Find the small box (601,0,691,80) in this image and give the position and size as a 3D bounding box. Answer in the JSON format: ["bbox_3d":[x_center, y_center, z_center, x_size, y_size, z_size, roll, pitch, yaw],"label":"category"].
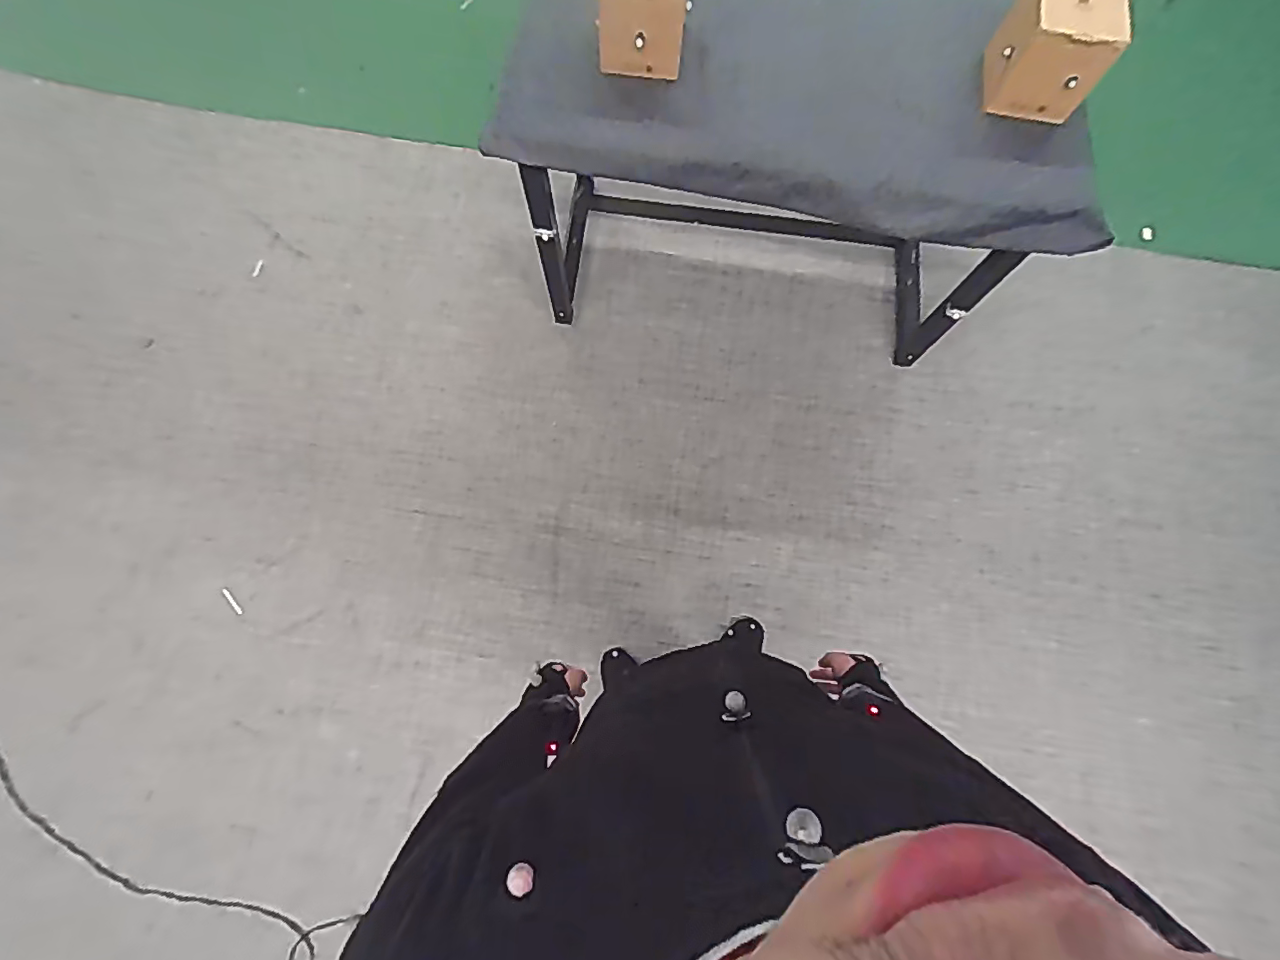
[{"bbox_3d":[0.017,-0.947,1.082,0.168,0.176,0.179,7,75,0],"label":"small box"}]

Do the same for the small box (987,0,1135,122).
[{"bbox_3d":[0.819,-0.852,1.069,0.168,0.176,0.179,11,74,1],"label":"small box"}]
